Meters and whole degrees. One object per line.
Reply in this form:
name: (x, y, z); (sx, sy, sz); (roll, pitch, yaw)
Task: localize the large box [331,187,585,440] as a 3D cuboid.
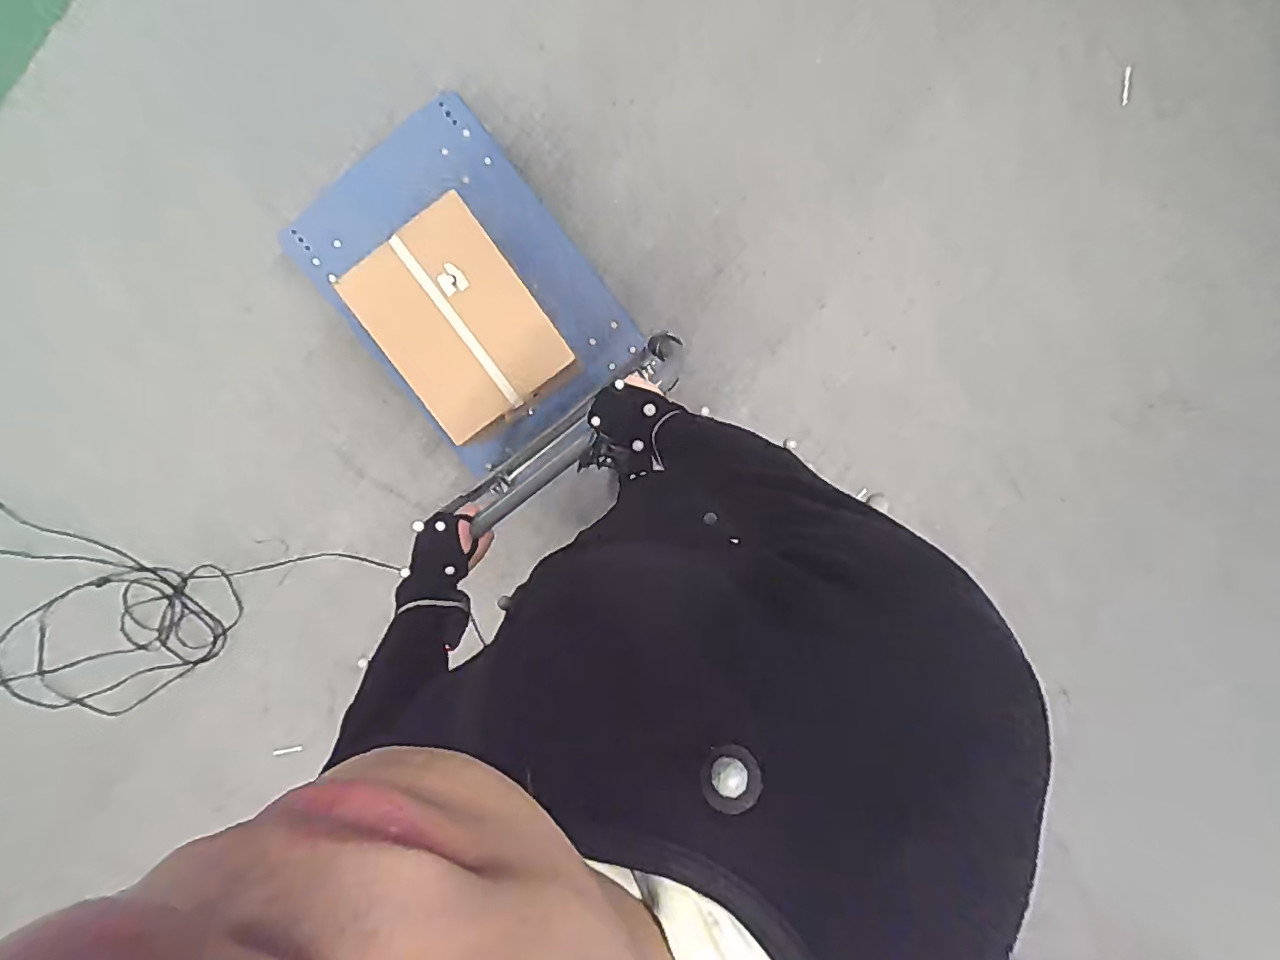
large box: (-0.373, -0.345, 1.225); (0.320, 0.320, 0.408); (-36, 97, 3)
